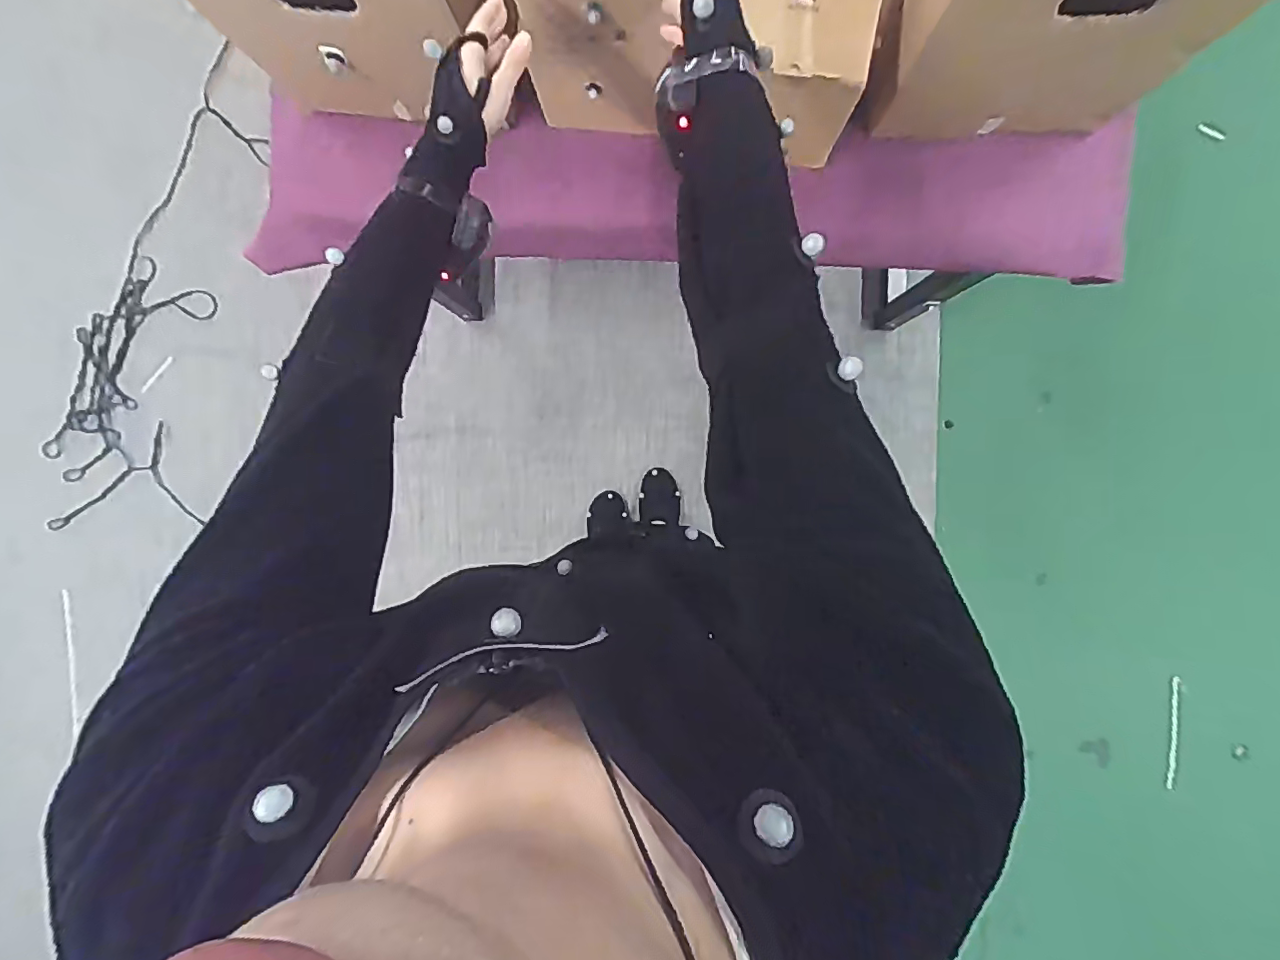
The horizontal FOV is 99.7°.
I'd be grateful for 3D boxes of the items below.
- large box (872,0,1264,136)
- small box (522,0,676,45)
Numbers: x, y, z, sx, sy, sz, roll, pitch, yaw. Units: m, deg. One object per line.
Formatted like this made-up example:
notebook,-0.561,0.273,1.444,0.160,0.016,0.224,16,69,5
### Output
large box,0.464,-0.670,0.590,0.320,0.320,0.408,1,93,4
small box,-0.044,-0.568,0.515,0.168,0.176,0.179,2,92,3
